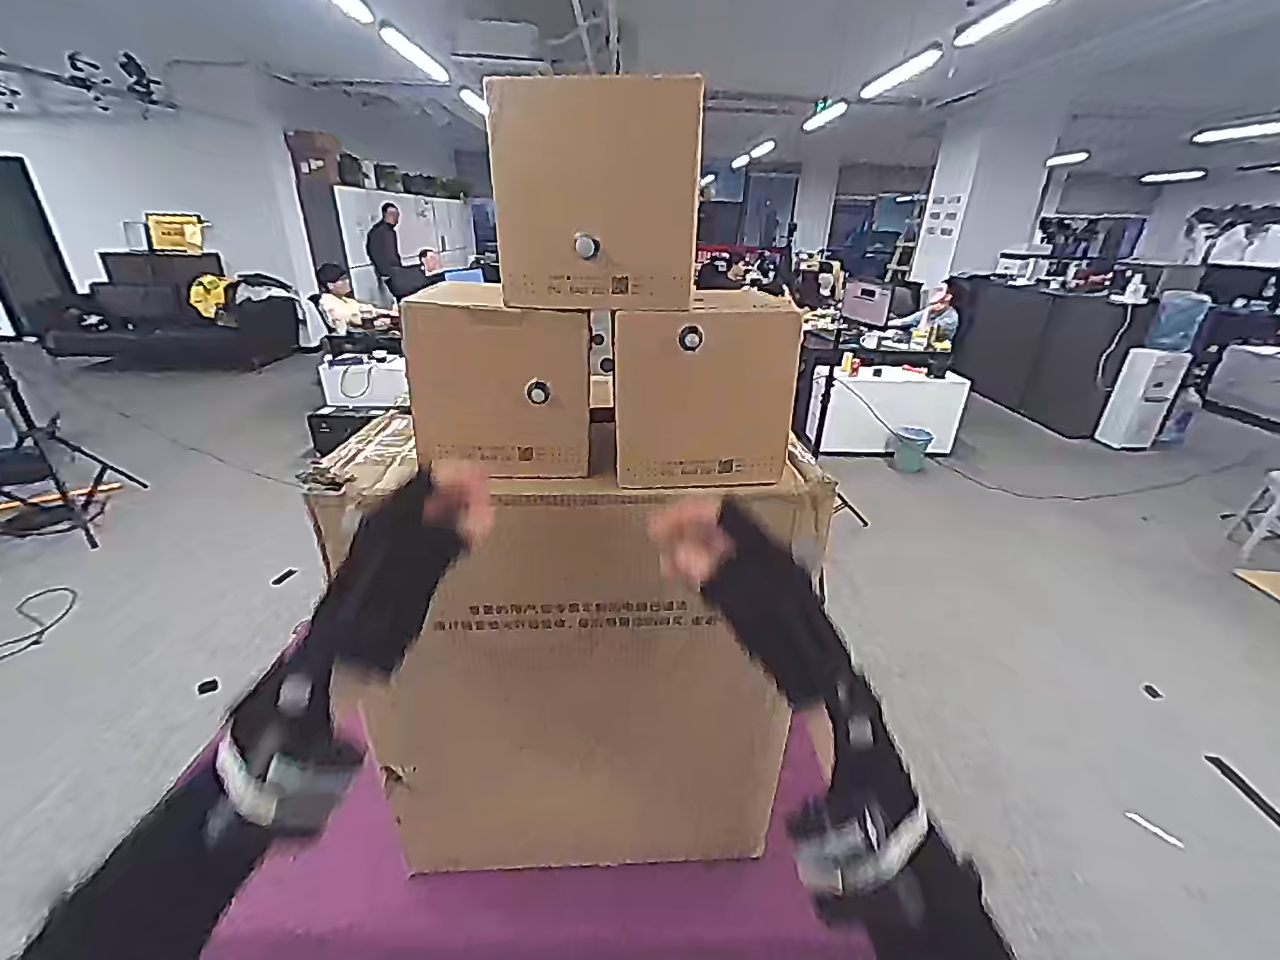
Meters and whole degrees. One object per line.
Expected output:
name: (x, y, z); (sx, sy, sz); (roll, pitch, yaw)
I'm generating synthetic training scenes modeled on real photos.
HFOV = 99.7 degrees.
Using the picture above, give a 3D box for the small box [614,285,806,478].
small box: (0.057, -0.111, 0.570); (0.168, 0.176, 0.179); (-2, 24, -4)

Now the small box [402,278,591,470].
small box: (-0.135, -0.117, 0.577); (0.168, 0.176, 0.179); (1, 24, -7)

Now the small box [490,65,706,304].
small box: (-0.027, -0.262, 0.505); (0.168, 0.176, 0.179); (2, 26, 4)
